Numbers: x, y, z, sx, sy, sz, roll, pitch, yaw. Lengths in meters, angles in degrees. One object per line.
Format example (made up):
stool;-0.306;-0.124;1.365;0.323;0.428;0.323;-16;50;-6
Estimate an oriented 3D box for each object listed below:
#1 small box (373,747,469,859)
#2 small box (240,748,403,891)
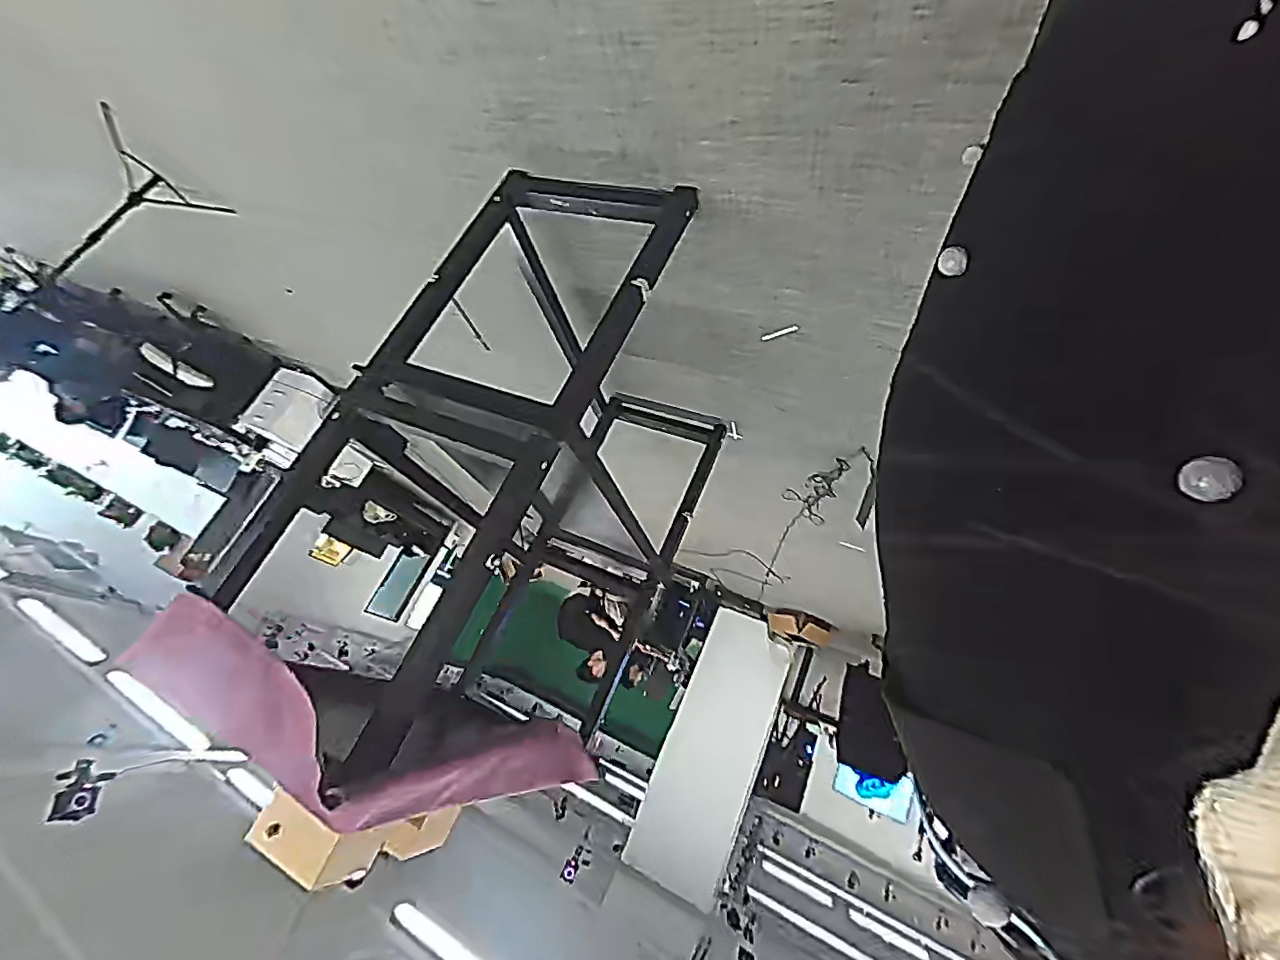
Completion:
small box;-0.545;0.757;1.289;0.168;0.176;0.179;20;160;18
small box;-0.608;0.643;1.052;0.179;0.176;0.168;20;162;18
